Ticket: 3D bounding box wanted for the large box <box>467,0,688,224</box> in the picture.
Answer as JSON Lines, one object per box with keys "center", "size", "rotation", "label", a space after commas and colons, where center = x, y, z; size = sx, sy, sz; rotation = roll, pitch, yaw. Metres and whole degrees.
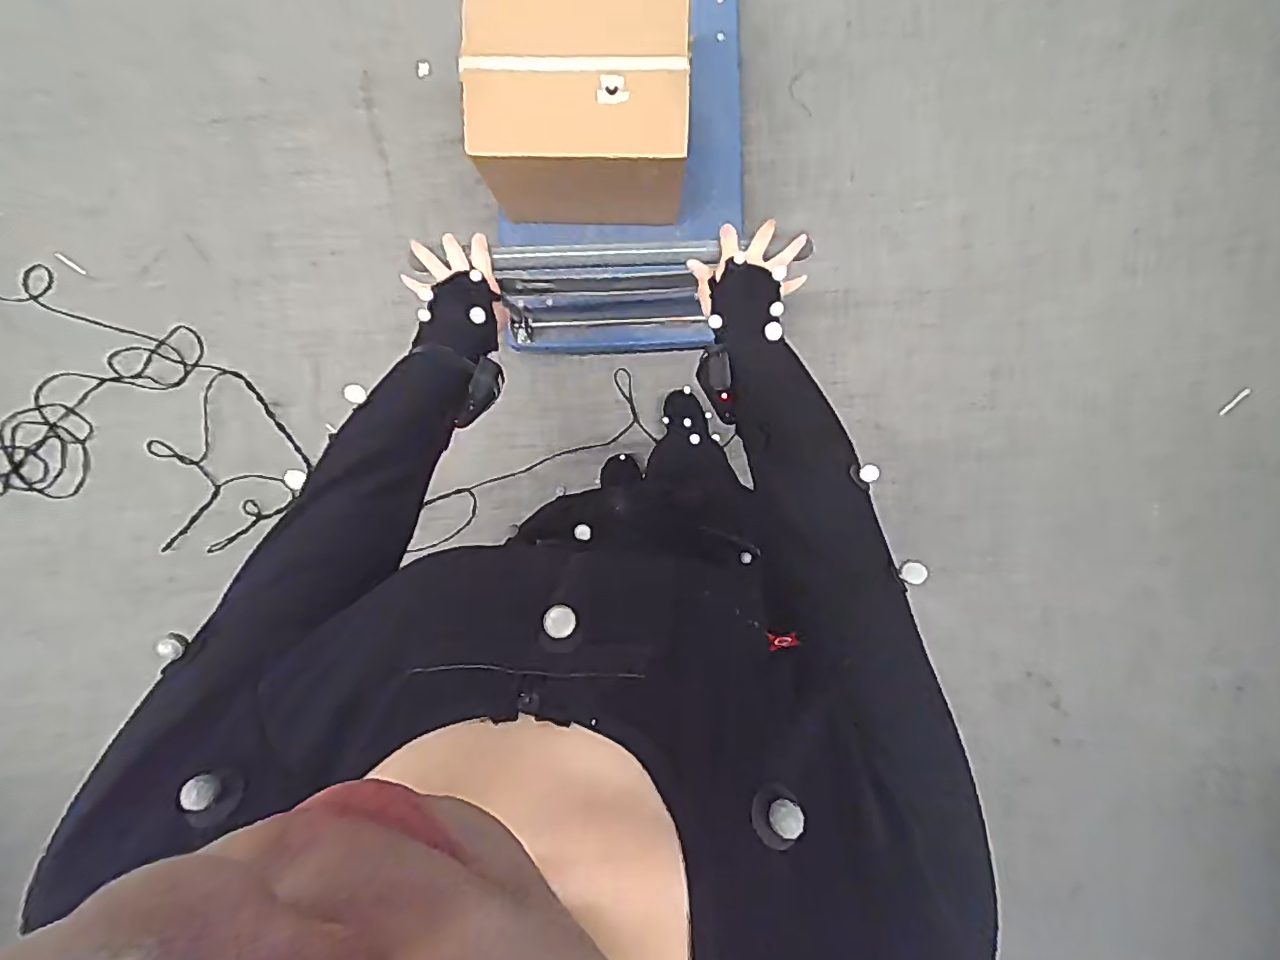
{"center": [-0.116, -0.754, 1.131], "size": [0.408, 0.320, 0.320], "rotation": [0, 94, -1], "label": "large box"}
